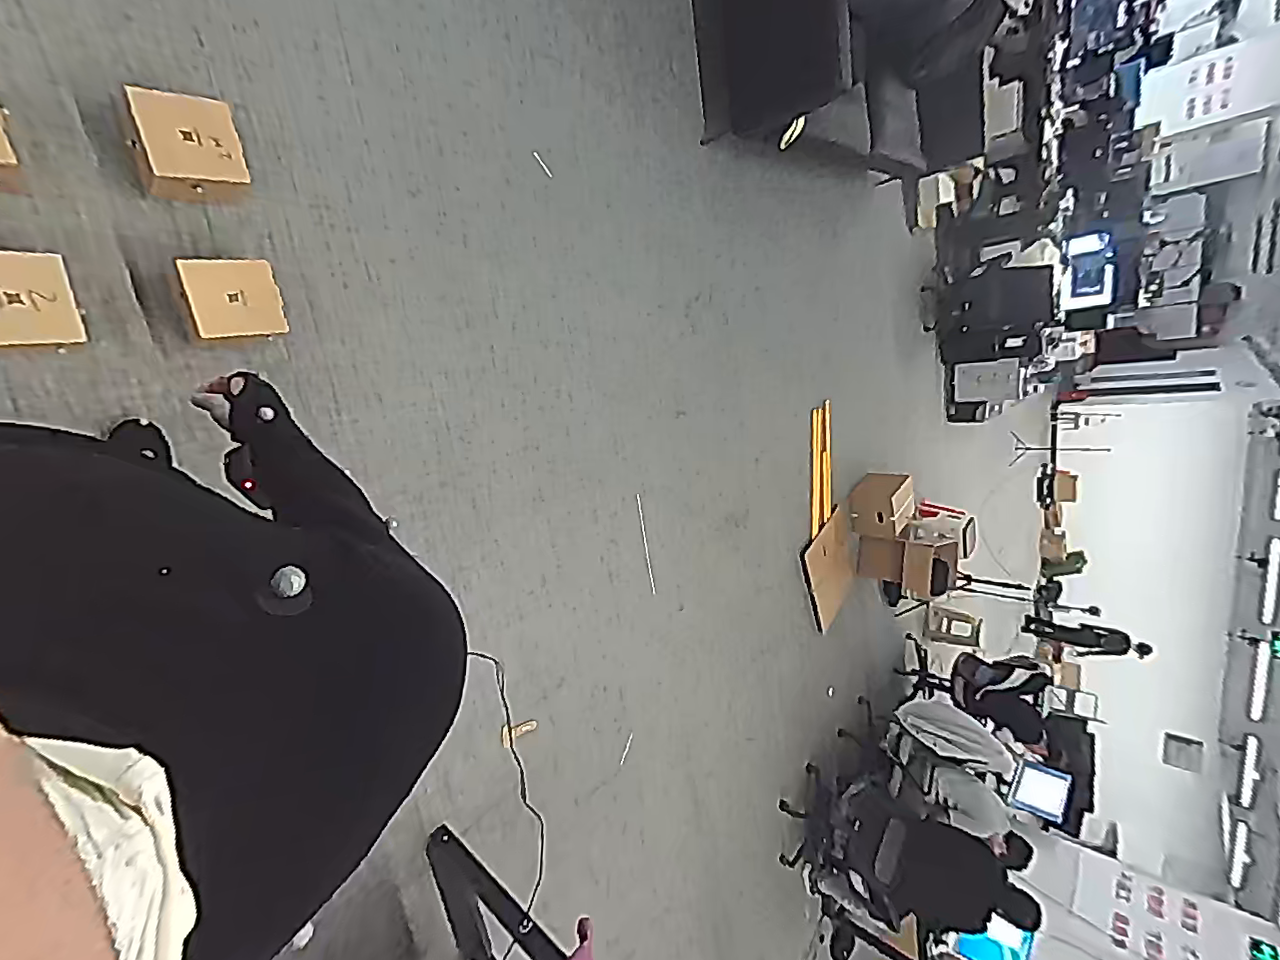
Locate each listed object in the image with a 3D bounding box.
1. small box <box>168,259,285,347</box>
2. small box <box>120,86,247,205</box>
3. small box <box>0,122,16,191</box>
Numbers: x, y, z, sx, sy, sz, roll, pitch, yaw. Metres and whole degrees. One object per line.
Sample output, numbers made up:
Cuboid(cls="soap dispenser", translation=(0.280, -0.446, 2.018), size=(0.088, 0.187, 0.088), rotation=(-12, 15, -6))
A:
Cuboid(cls="small box", translation=(-0.968, -0.409, 1.262), size=(0.179, 0.176, 0.168), rotation=(-22, 108, -44))
Cuboid(cls="small box", translation=(-1.008, -0.724, 1.194), size=(0.179, 0.176, 0.168), rotation=(-21, 108, -44))
Cuboid(cls="small box", translation=(-1.253, -0.628, 0.951), size=(0.179, 0.176, 0.168), rotation=(-20, 106, -43))
